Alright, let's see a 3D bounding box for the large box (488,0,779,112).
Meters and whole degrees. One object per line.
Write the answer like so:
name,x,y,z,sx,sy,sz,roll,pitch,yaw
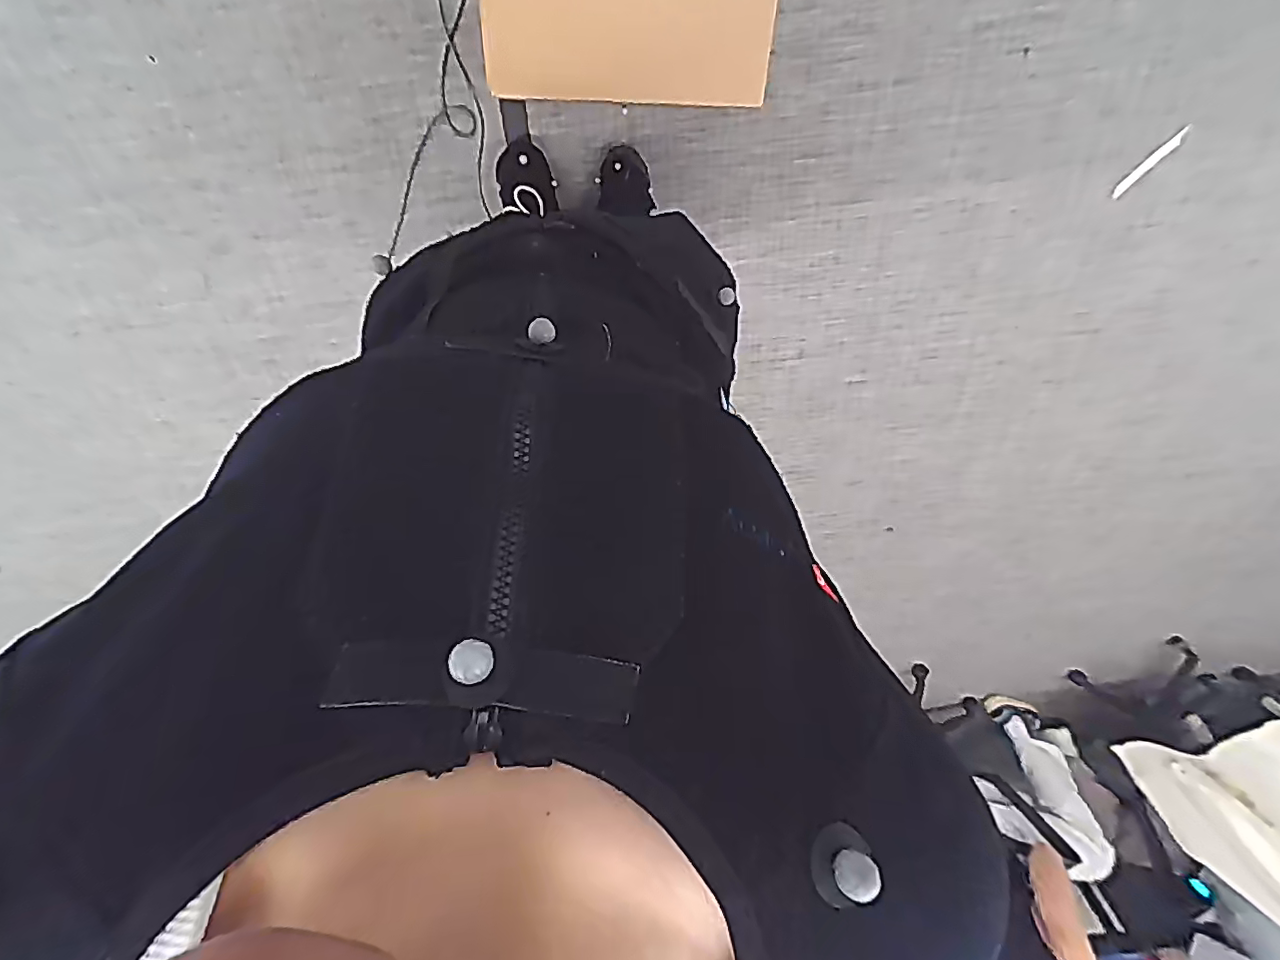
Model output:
large box,-0.016,-0.763,0.836,0.408,0.320,0.320,0,126,-4
